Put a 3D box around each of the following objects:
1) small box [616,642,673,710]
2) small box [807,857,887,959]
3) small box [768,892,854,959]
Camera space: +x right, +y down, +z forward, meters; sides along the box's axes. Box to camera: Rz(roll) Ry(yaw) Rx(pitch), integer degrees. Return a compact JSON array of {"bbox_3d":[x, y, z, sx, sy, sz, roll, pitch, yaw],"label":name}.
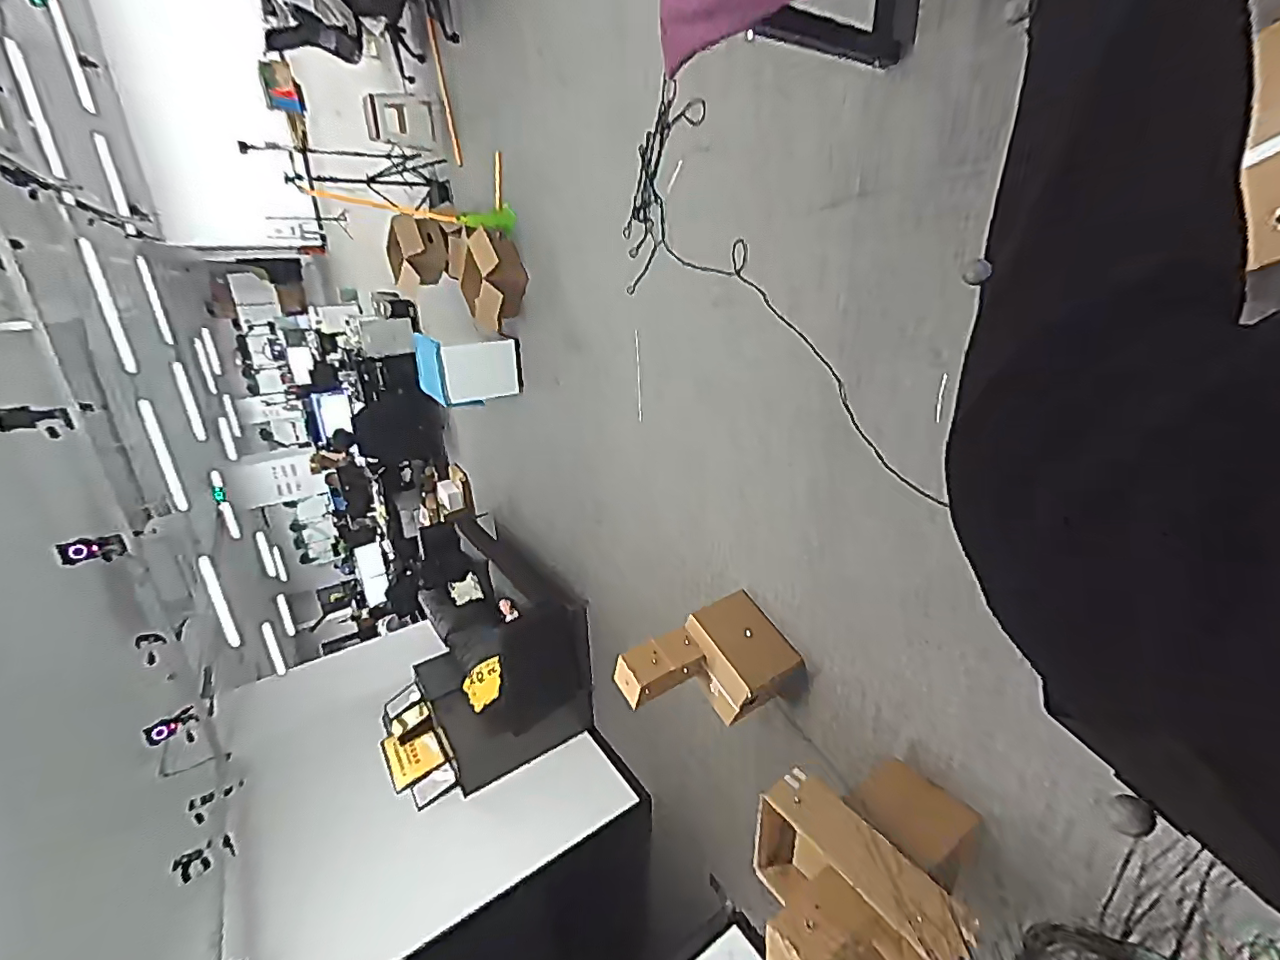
[{"bbox_3d":[0.020,0.815,2.256,0.168,0.176,0.179,46,139,38],"label":"small box"},{"bbox_3d":[0.617,1.299,1.625,0.168,0.176,0.179,26,123,50],"label":"small box"},{"bbox_3d":[0.485,1.336,1.536,0.168,0.176,0.179,23,121,52],"label":"small box"}]
